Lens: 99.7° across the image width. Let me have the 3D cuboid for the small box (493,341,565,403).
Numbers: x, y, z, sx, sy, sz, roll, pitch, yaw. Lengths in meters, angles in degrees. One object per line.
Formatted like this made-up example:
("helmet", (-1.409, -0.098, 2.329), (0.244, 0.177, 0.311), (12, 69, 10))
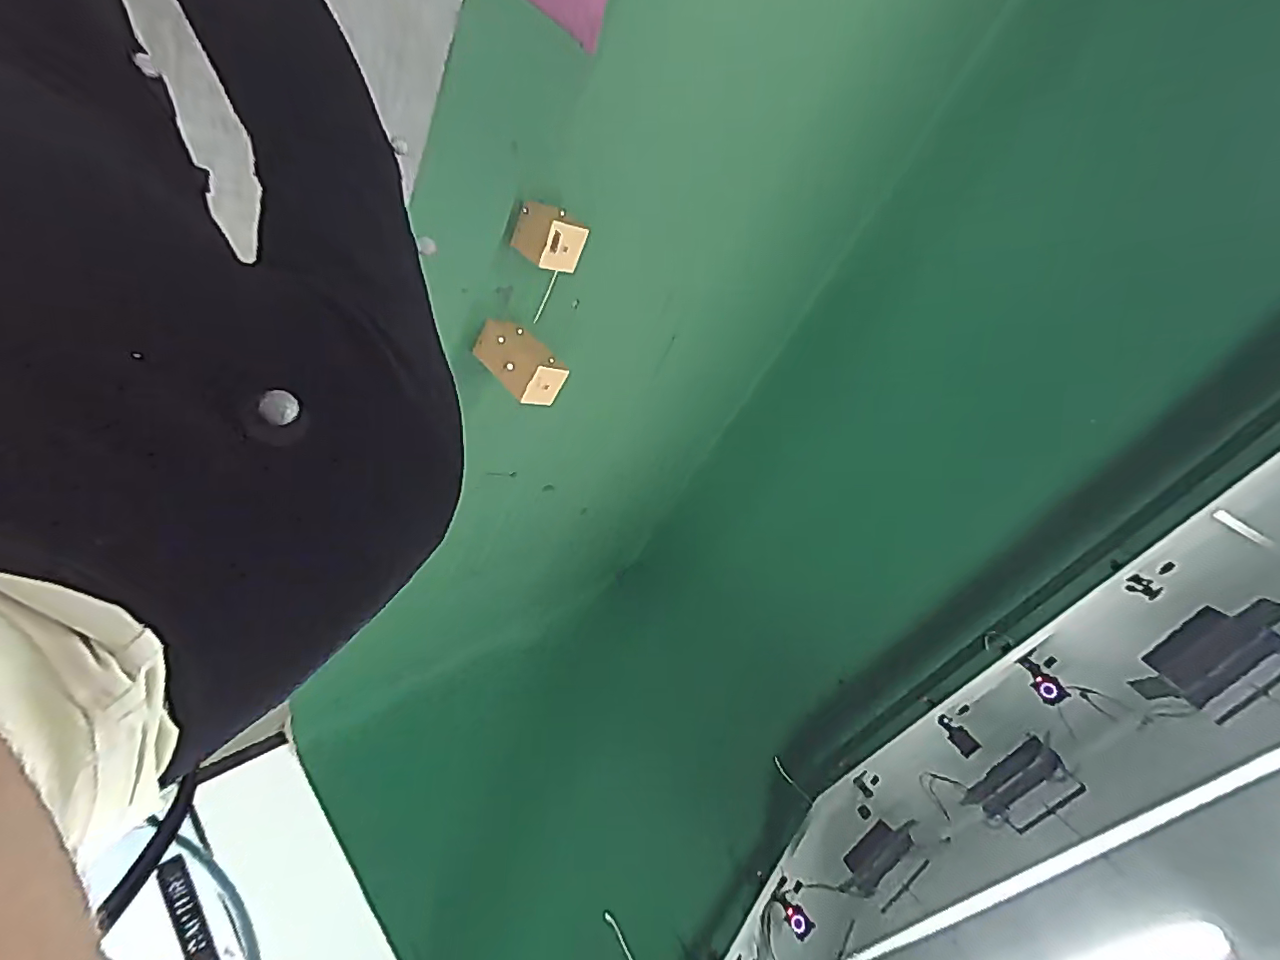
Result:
("small box", (-0.430, -0.416, 2.087), (0.179, 0.176, 0.168), (-6, 135, -57))

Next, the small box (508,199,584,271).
("small box", (-0.336, -0.865, 1.911), (0.179, 0.176, 0.168), (-17, 144, -51))
